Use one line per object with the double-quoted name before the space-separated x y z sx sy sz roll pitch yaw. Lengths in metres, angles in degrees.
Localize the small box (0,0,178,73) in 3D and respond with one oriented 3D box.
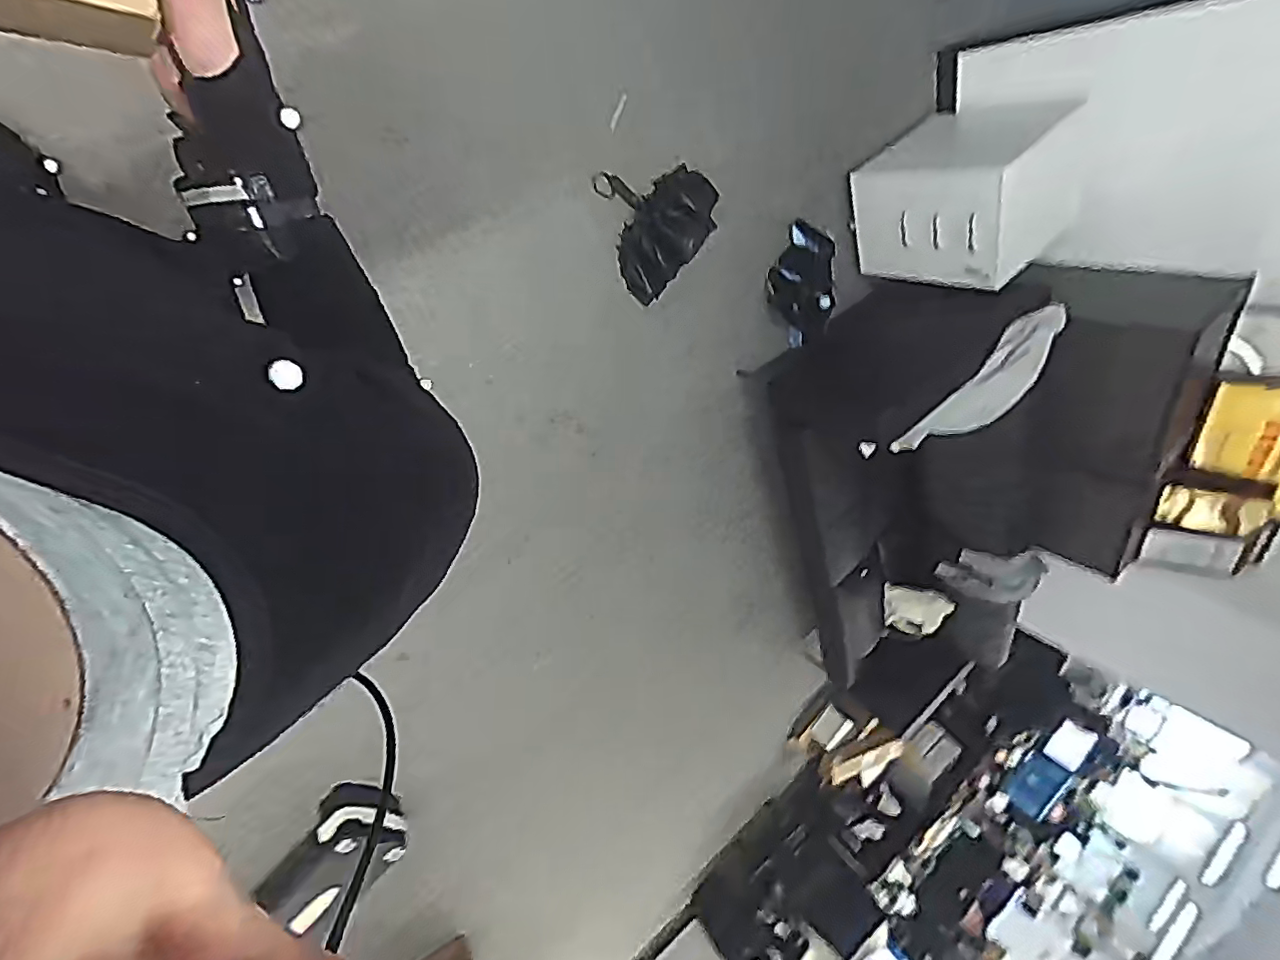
"small box" -0.333 -0.304 0.232 0.168 0.176 0.179 -17 125 -35
